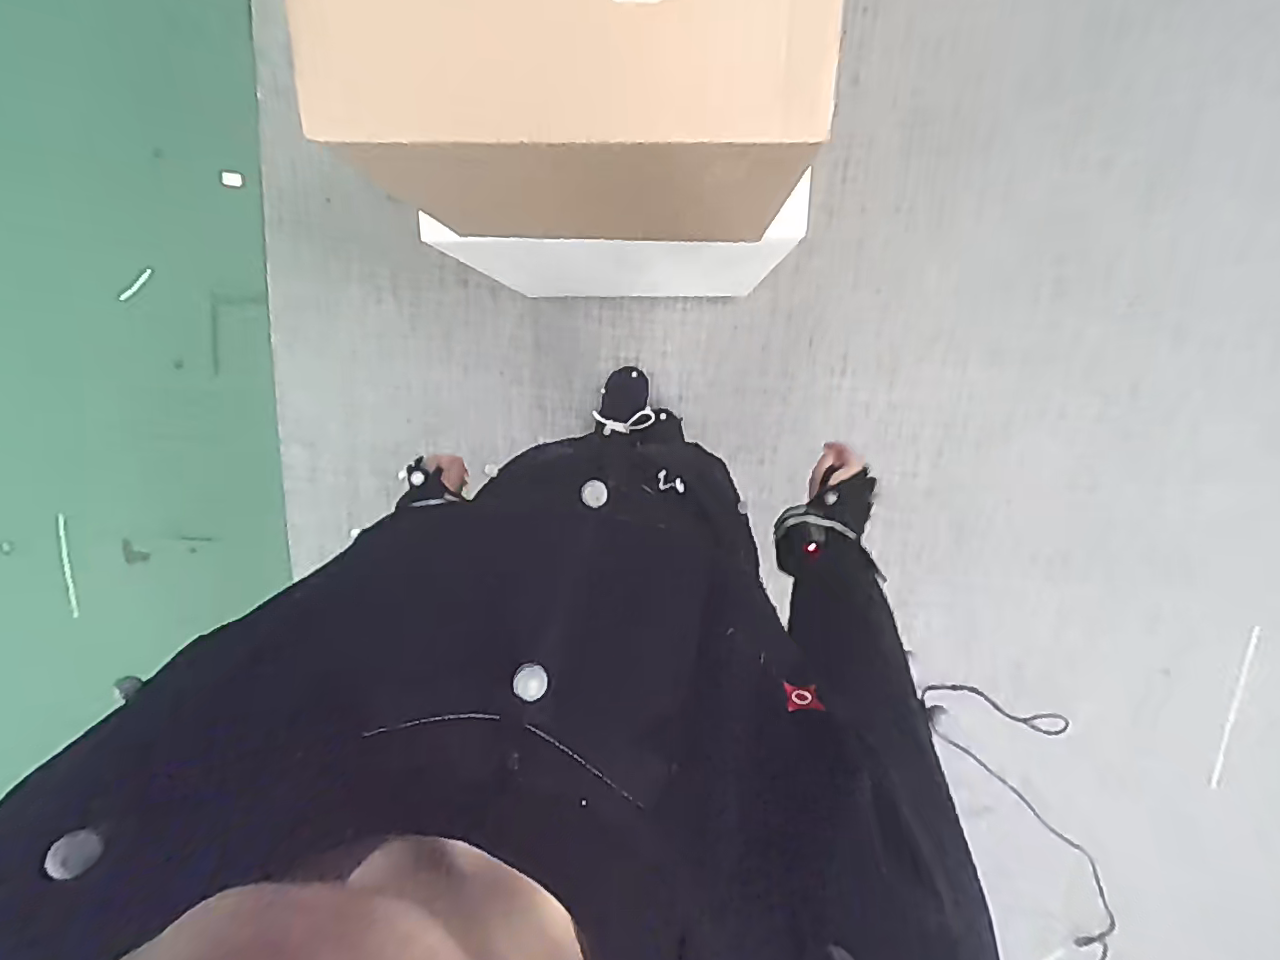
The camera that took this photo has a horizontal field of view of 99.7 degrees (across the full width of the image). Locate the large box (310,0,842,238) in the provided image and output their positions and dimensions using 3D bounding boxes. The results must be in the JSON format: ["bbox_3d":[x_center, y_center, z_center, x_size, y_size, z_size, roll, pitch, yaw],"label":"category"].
[{"bbox_3d":[-0.046,-0.443,0.536,0.408,0.320,0.320,1,102,1],"label":"large box"}]
